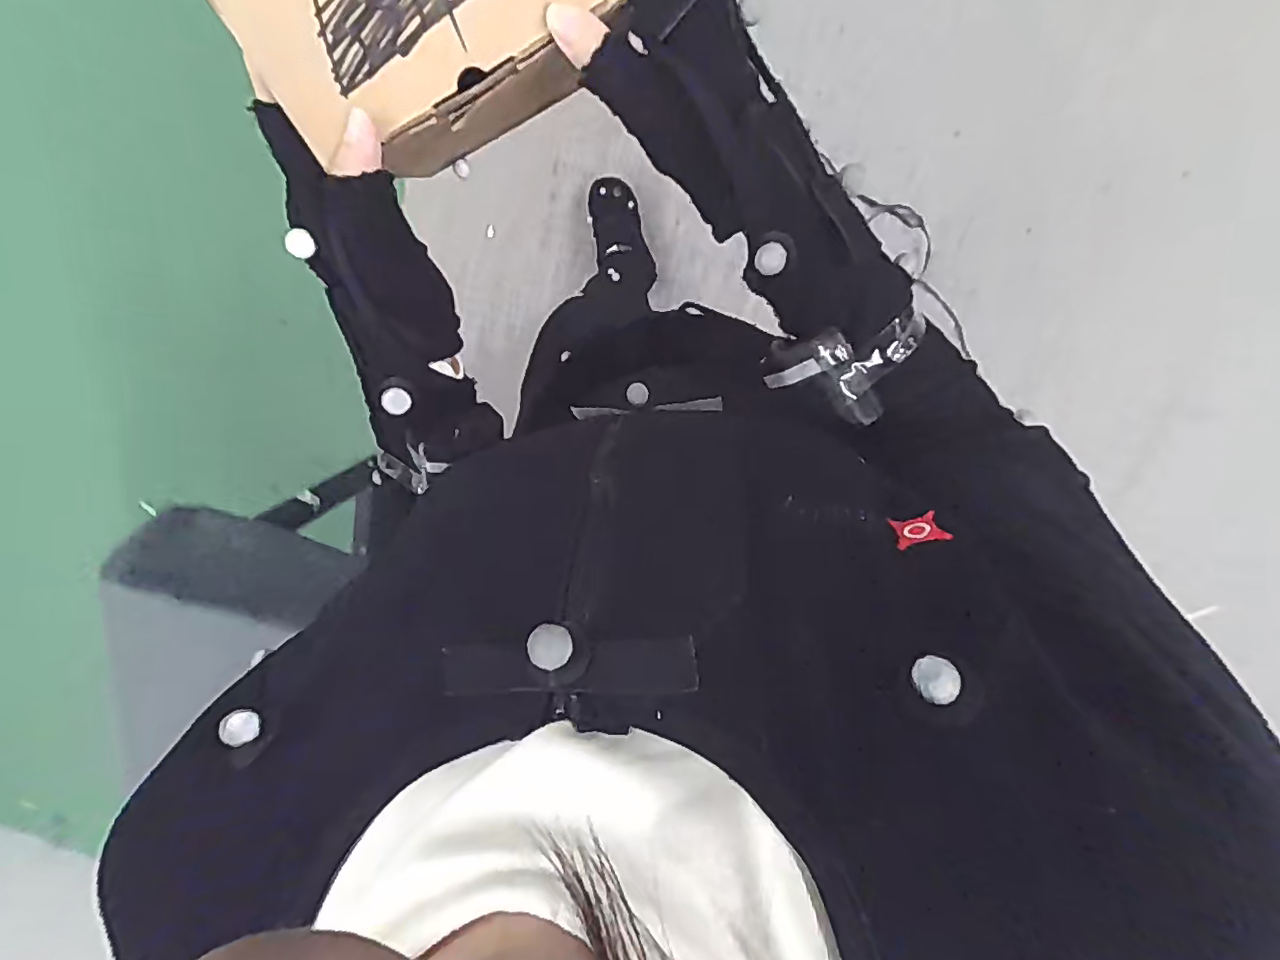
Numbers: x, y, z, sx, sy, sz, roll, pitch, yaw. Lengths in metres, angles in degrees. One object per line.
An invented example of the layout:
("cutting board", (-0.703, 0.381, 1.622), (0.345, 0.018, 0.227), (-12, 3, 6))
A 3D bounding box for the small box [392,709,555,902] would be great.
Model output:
("small box", (-0.245, 0.485, 0.824), (0.179, 0.176, 0.168), (18, 113, 1))

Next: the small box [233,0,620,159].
("small box", (-0.116, -0.297, 0.278), (0.168, 0.176, 0.179), (-25, 118, 12))
